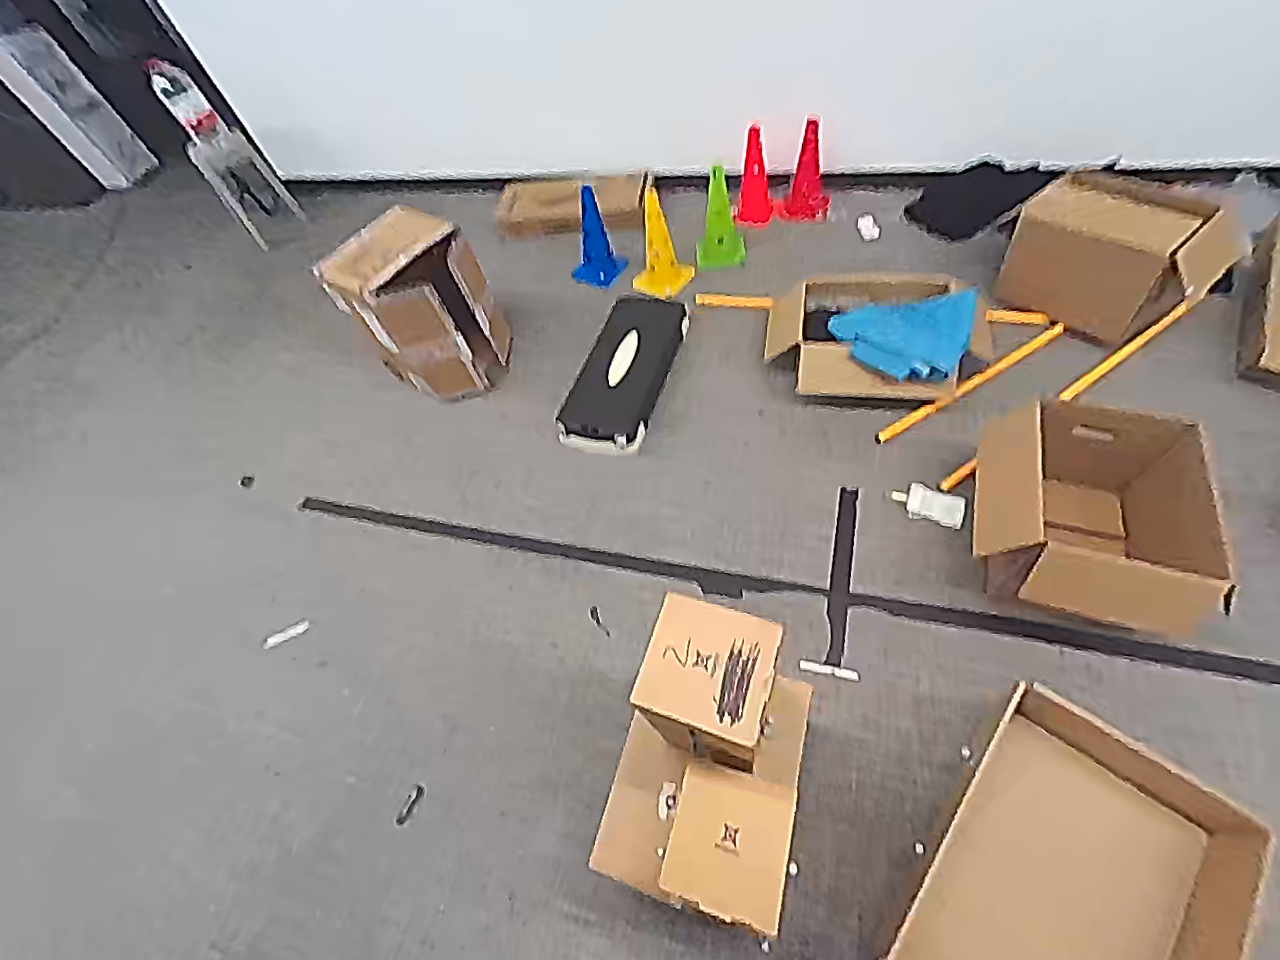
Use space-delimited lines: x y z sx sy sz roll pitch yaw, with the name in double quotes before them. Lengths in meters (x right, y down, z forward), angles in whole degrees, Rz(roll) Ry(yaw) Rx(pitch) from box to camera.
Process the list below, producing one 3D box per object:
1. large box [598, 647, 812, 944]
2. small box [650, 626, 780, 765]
"large box" 0.149 0.603 1.088 0.320 0.320 0.408 9 60 18
"small box" 0.136 0.379 0.940 0.179 0.176 0.168 13 62 18
